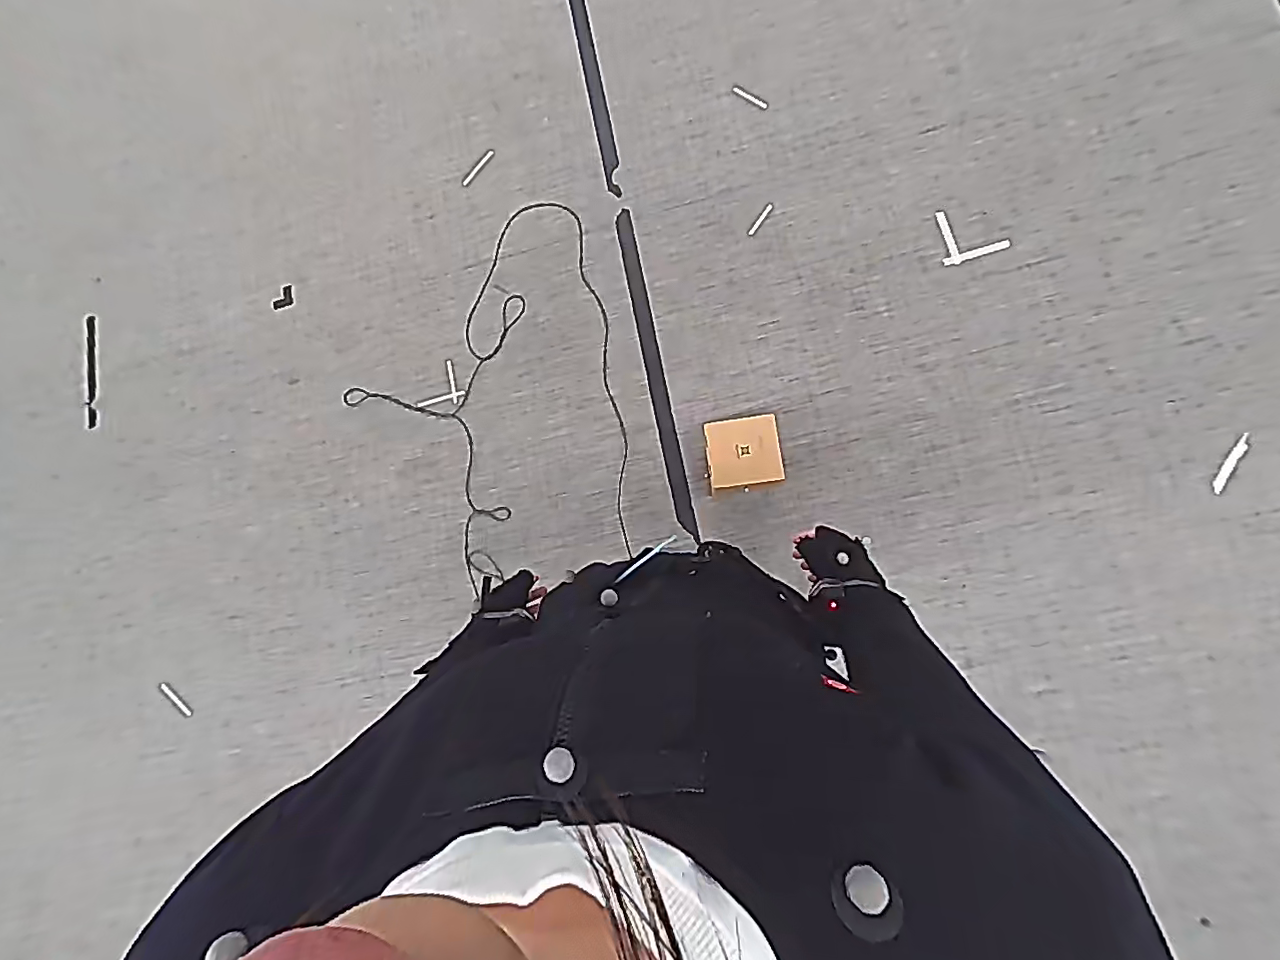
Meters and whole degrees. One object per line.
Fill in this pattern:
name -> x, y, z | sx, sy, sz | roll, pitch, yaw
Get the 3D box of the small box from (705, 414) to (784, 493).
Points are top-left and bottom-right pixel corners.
small box -> 0.266, -0.062, 1.396 | 0.179, 0.176, 0.168 | -7, 82, 6
